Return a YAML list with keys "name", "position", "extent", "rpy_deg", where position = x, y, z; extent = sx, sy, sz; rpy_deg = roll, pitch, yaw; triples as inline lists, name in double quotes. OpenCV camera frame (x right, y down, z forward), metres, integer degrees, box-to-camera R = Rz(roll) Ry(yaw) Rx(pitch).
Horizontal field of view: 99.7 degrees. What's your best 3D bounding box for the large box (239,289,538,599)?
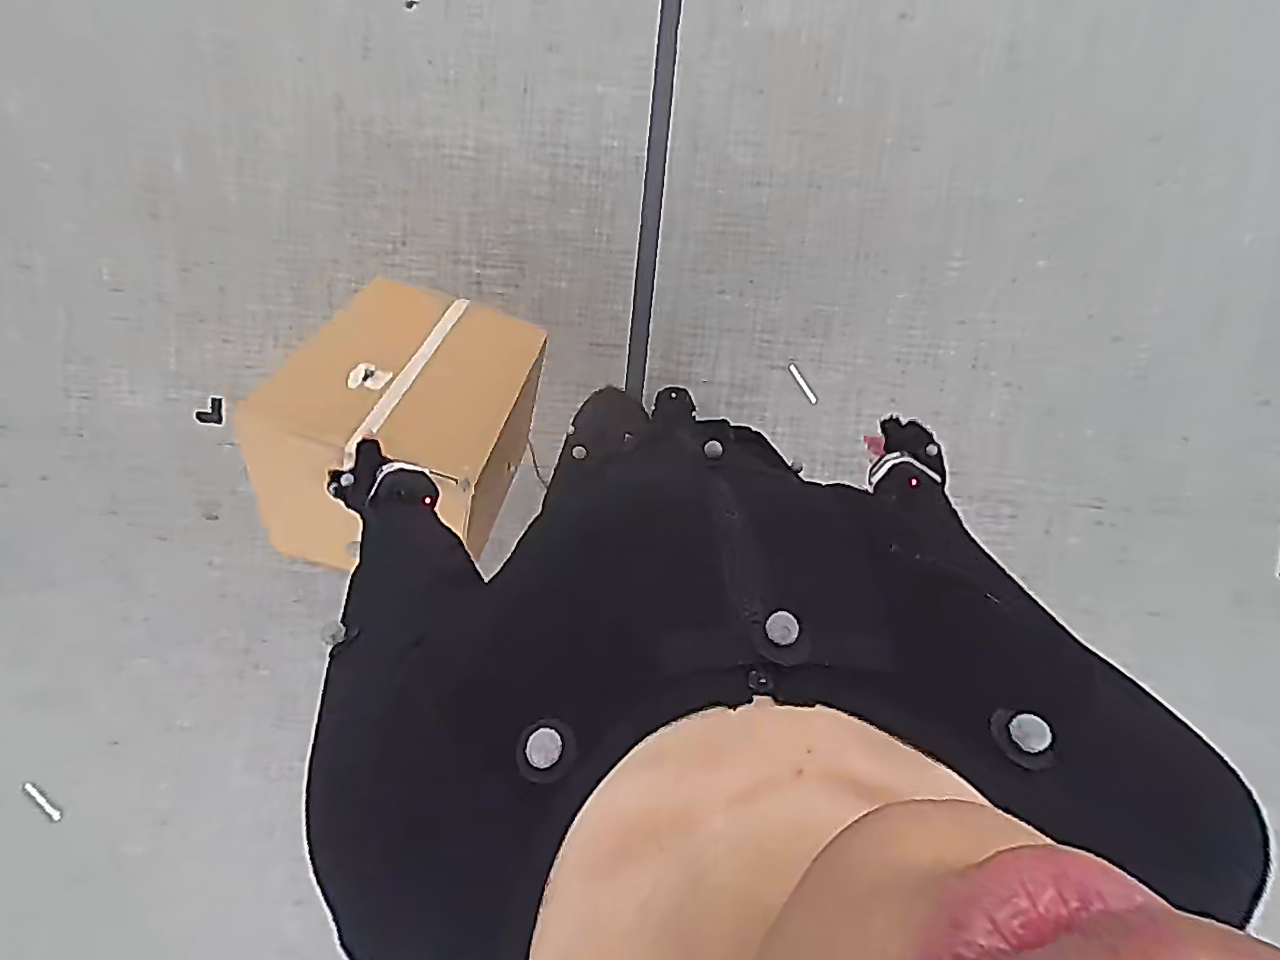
- name: "large box"
  position: [-0.396, -0.067, 0.957]
  extent: [0.320, 0.408, 0.320]
  rpy_deg: [16, 135, -6]
